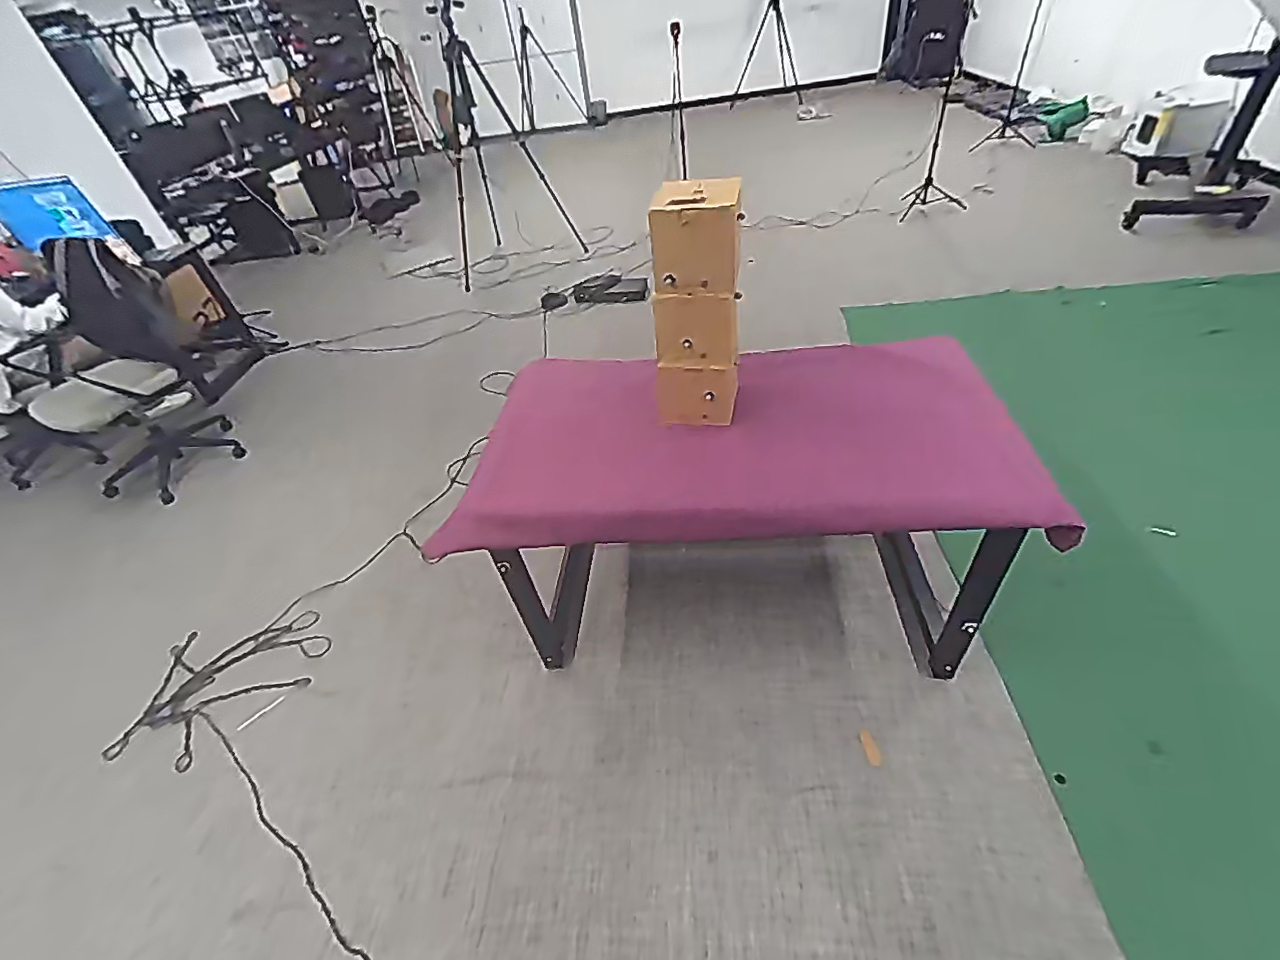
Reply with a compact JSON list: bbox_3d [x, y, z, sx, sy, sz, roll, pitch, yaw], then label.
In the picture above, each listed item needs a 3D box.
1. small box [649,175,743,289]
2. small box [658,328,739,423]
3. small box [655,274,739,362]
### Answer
[{"bbox_3d":[0.123,-0.505,1.110,0.168,0.176,0.179,4,44,13],"label":"small box"},{"bbox_3d":[0.151,-0.256,1.319,0.168,0.176,0.179,5,44,15],"label":"small box"},{"bbox_3d":[0.132,-0.381,1.218,0.168,0.176,0.179,3,45,12],"label":"small box"}]
